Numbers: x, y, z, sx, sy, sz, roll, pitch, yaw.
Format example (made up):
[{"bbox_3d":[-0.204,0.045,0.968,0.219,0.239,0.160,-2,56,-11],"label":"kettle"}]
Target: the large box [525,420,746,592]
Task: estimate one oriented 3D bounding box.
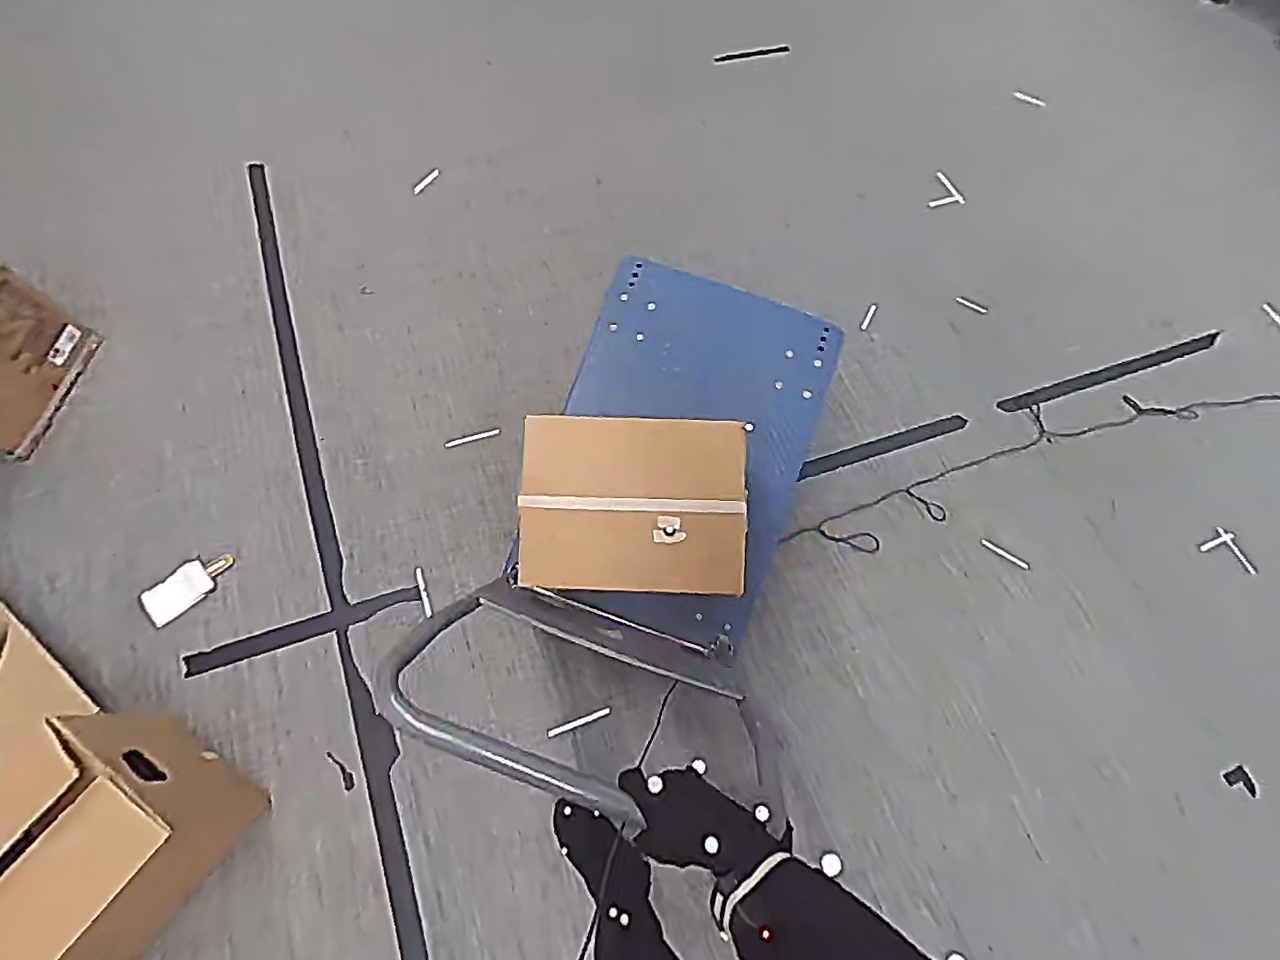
[{"bbox_3d":[-0.010,0.059,1.127,0.408,0.320,0.320,1,86,0],"label":"large box"}]
